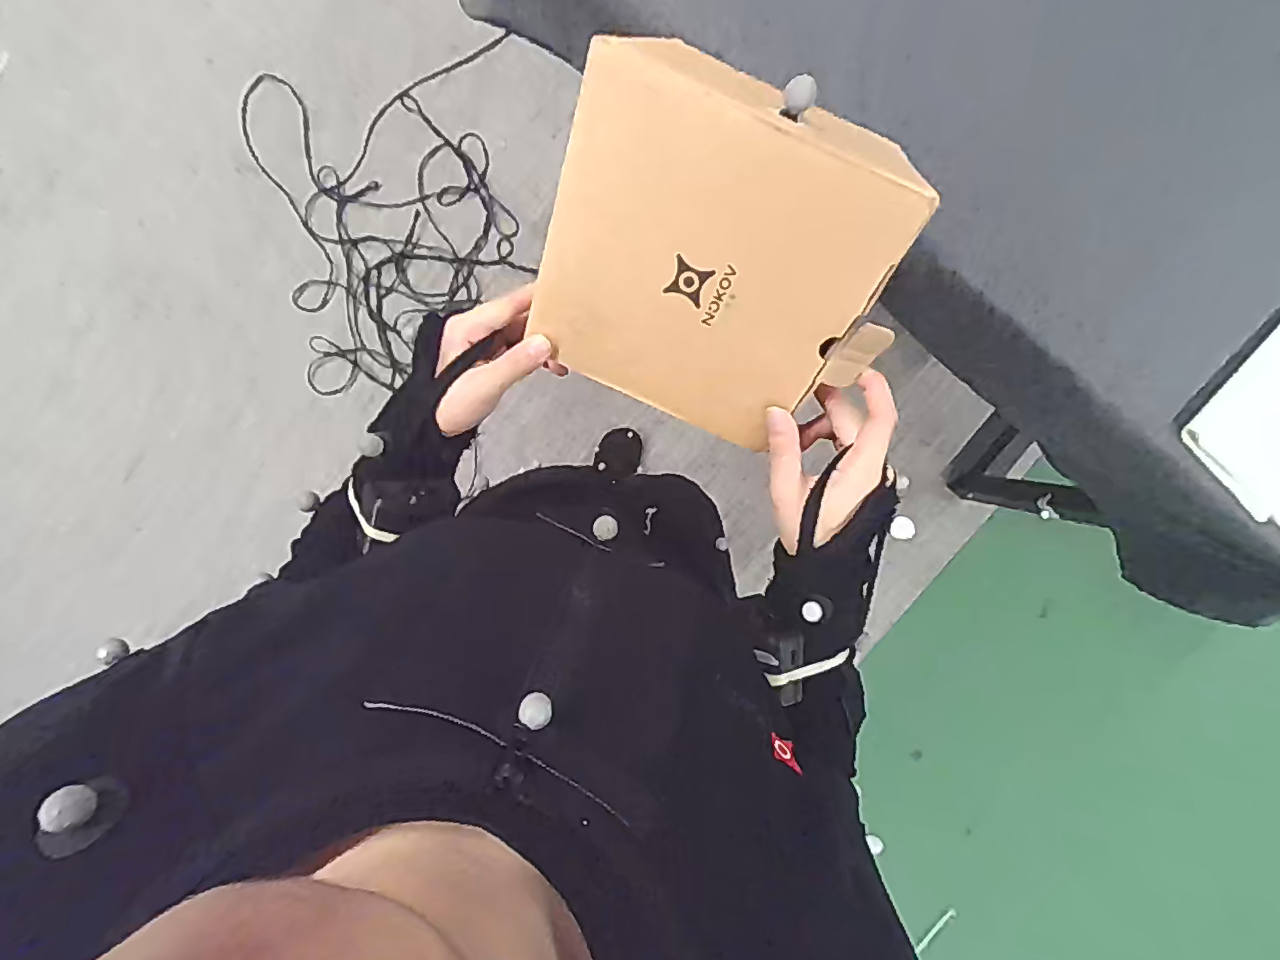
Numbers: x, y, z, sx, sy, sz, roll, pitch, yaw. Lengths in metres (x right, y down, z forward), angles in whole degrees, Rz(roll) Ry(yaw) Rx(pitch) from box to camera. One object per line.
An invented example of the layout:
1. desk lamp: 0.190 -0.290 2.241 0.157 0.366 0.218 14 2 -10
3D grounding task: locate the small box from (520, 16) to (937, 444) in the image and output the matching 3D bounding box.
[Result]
1. small box: 0.048 -0.159 0.355 0.179 0.176 0.168 24 129 -3
